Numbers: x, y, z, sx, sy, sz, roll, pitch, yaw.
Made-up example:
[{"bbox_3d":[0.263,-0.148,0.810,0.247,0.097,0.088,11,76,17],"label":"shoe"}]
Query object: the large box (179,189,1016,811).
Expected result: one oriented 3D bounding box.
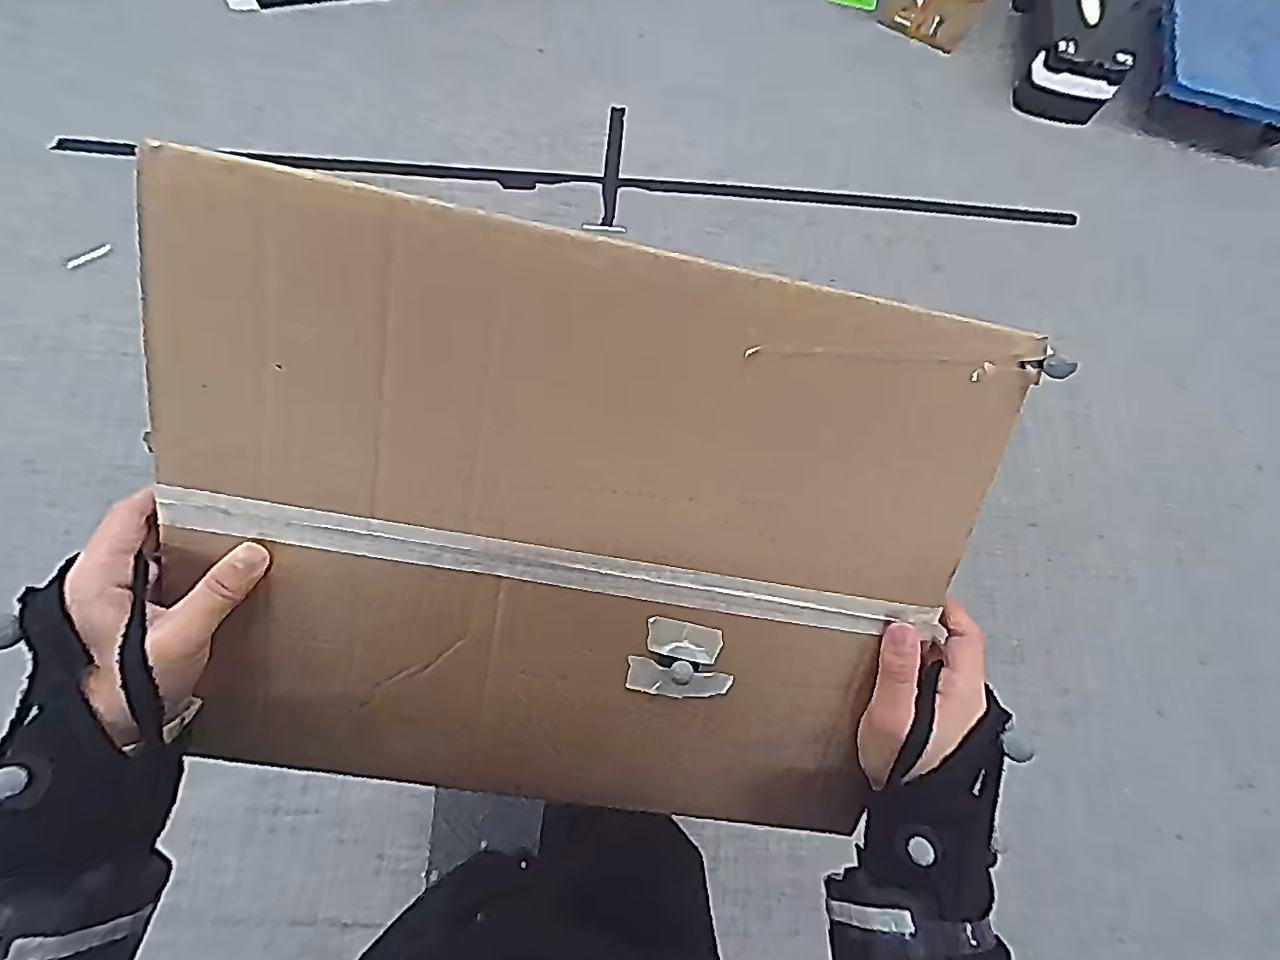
[{"bbox_3d":[-0.040,0.002,0.435,0.408,0.320,0.320,10,108,-6],"label":"large box"}]
